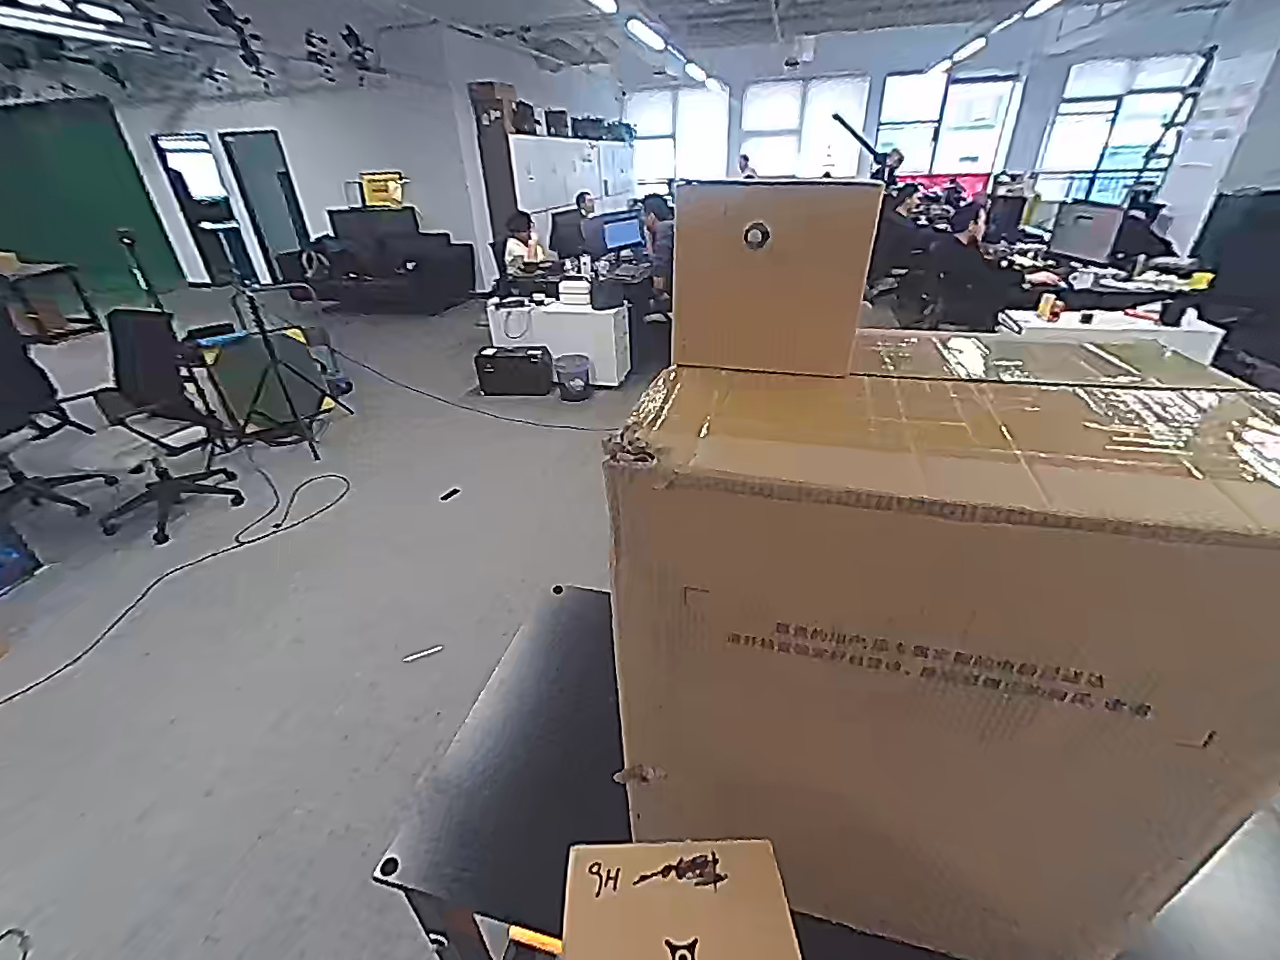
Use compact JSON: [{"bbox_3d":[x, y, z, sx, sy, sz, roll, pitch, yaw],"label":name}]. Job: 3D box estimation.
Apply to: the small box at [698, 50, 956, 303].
[{"bbox_3d":[0.151,-0.260,0.487,0.179,0.176,0.168,8,30,13],"label":"small box"}]
